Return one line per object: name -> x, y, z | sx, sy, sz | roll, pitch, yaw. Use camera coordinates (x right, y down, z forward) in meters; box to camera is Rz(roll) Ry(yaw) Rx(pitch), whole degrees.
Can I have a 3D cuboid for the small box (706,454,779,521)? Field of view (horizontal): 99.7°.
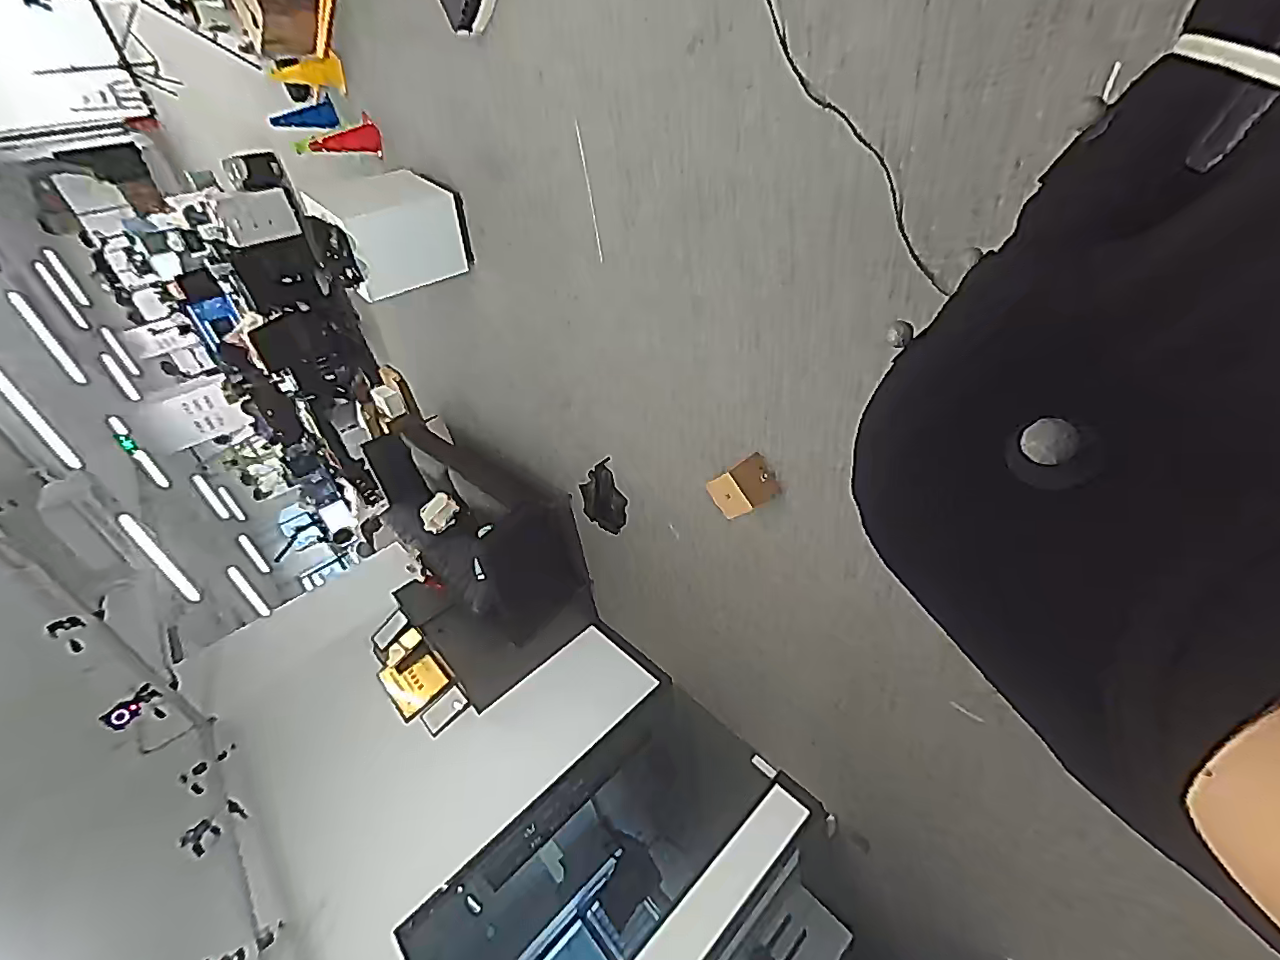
small box -> 0.391, 0.029, 2.054 | 0.168, 0.176, 0.179 | 55, 150, 1
